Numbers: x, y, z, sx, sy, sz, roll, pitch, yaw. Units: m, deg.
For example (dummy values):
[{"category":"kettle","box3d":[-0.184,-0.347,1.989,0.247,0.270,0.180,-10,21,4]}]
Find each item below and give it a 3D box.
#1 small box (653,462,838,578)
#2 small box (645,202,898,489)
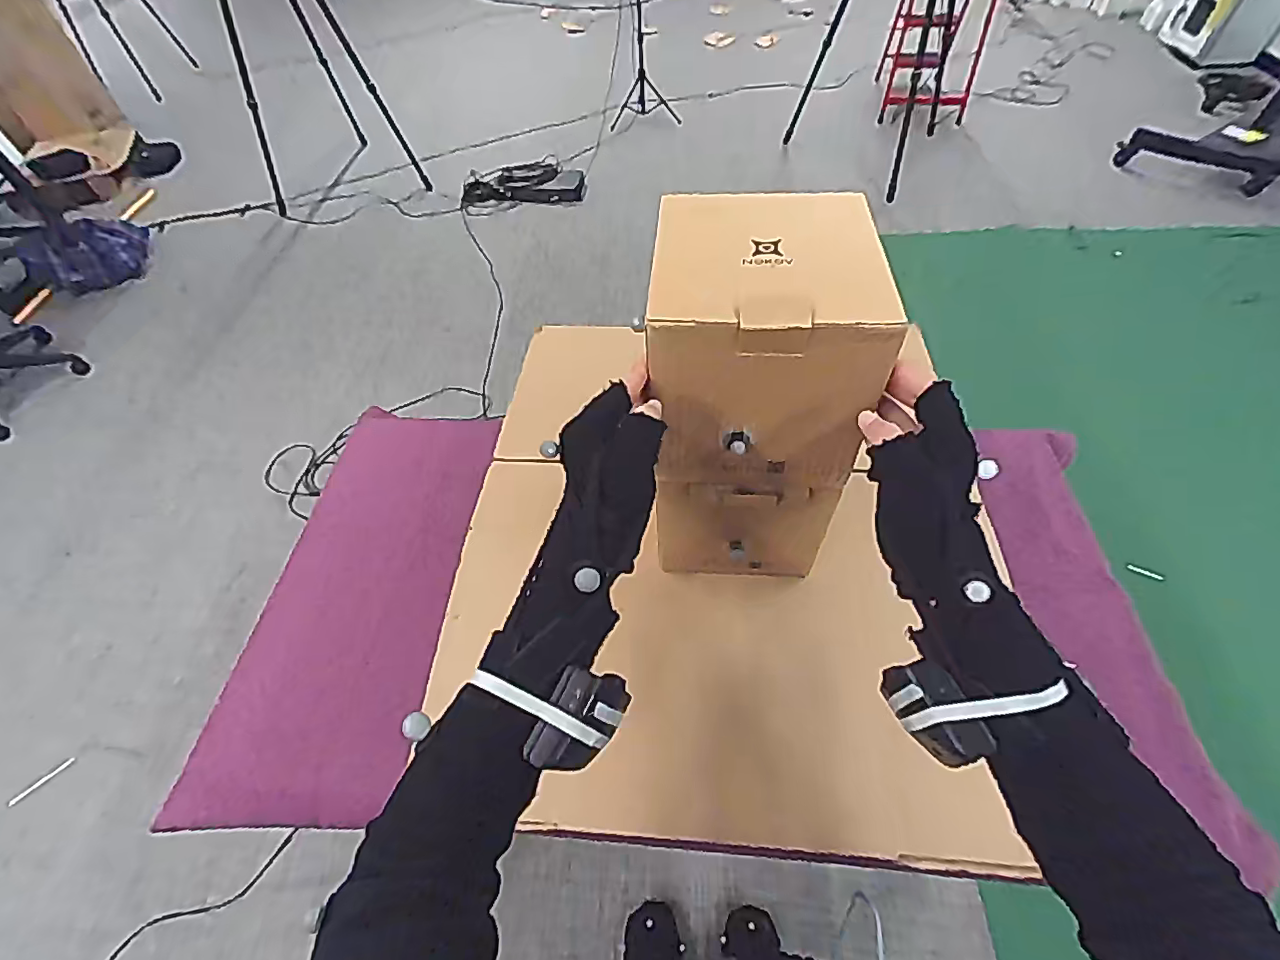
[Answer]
[{"category":"small box","box3d":[0.103,-0.013,0.592,0.168,0.176,0.179,1,52,6]},{"category":"small box","box3d":[0.094,-0.113,0.463,0.168,0.176,0.179,2,53,5]}]
